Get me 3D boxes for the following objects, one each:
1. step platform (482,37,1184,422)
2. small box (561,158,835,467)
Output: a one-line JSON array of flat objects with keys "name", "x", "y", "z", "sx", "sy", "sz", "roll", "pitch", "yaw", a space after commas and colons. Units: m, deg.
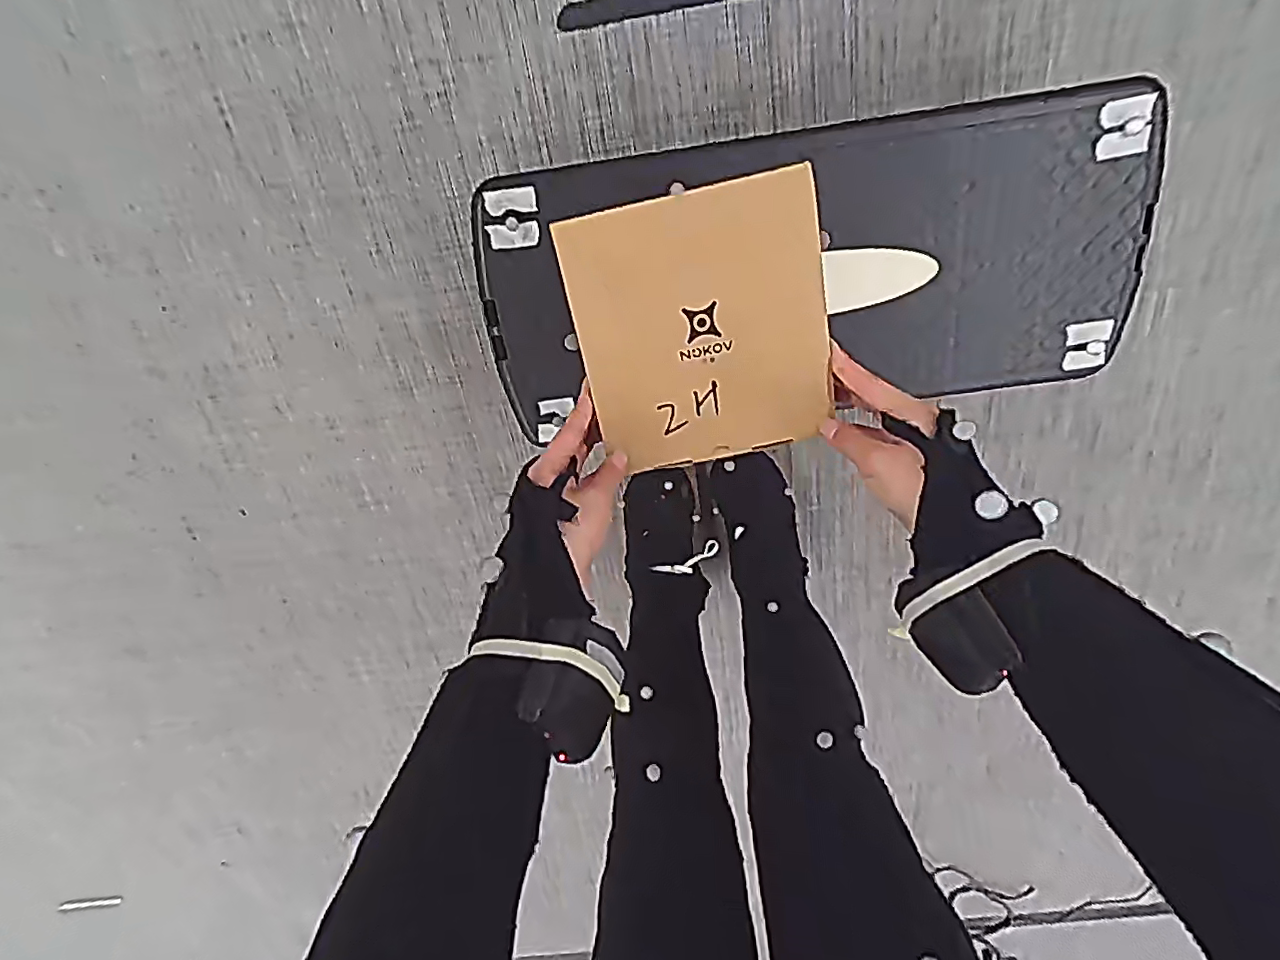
[{"name": "step platform", "x": 0.180, "y": -0.256, "z": 0.611, "sx": 0.684, "sy": 0.204, "sz": 0.286, "roll": -7, "pitch": 113, "yaw": 3}, {"name": "small box", "x": 0.044, "y": -0.130, "z": 0.435, "sx": 0.168, "sy": 0.176, "sz": 0.179, "roll": -10, "pitch": 111, "yaw": 5}]
